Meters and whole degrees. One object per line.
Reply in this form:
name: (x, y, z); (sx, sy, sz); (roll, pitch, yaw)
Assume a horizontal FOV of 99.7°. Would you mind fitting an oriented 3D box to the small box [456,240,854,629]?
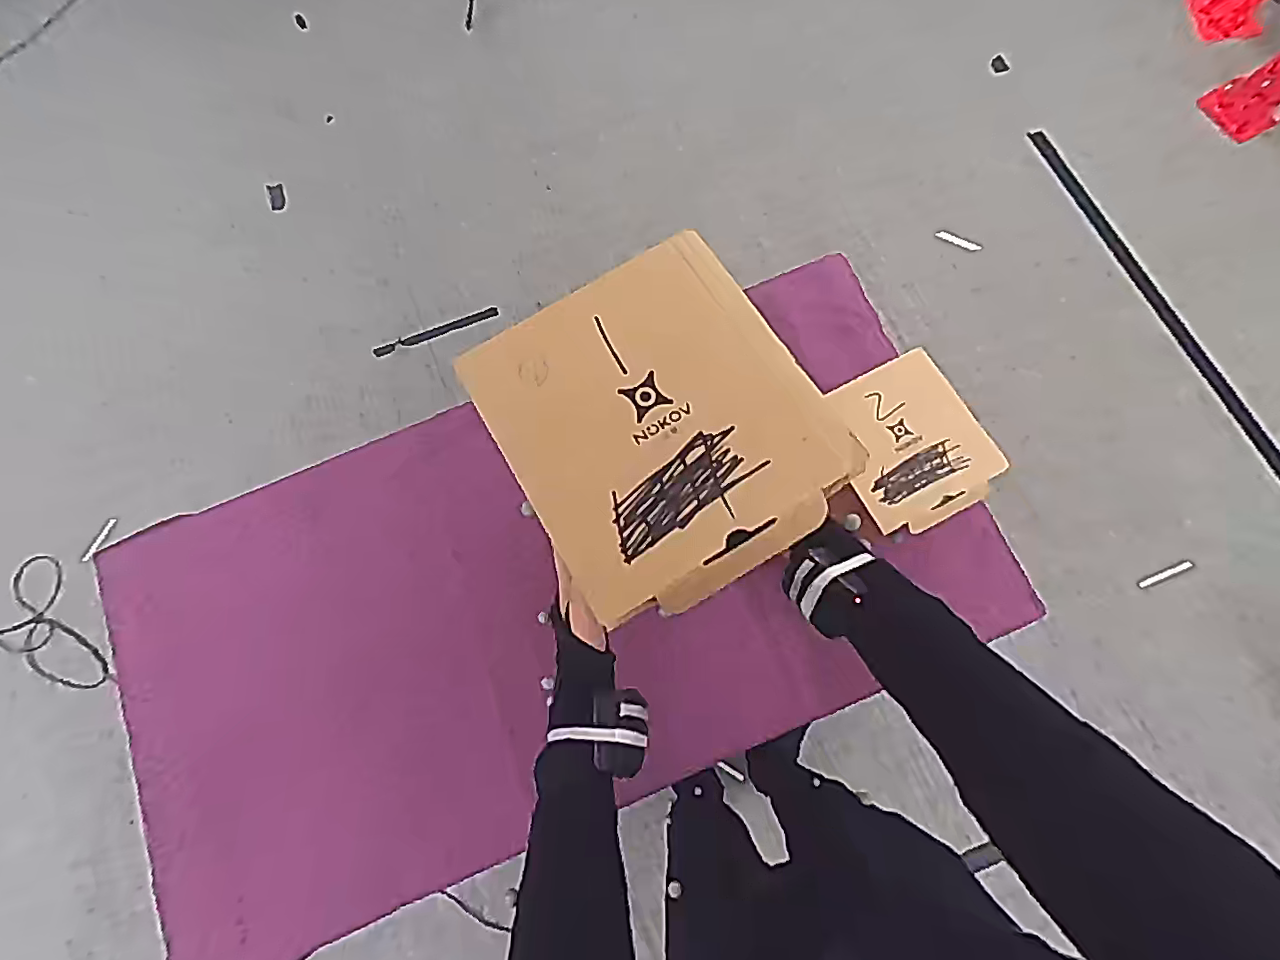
small box: (0.008, -0.016, 0.379); (0.168, 0.176, 0.179); (-31, 77, -5)
